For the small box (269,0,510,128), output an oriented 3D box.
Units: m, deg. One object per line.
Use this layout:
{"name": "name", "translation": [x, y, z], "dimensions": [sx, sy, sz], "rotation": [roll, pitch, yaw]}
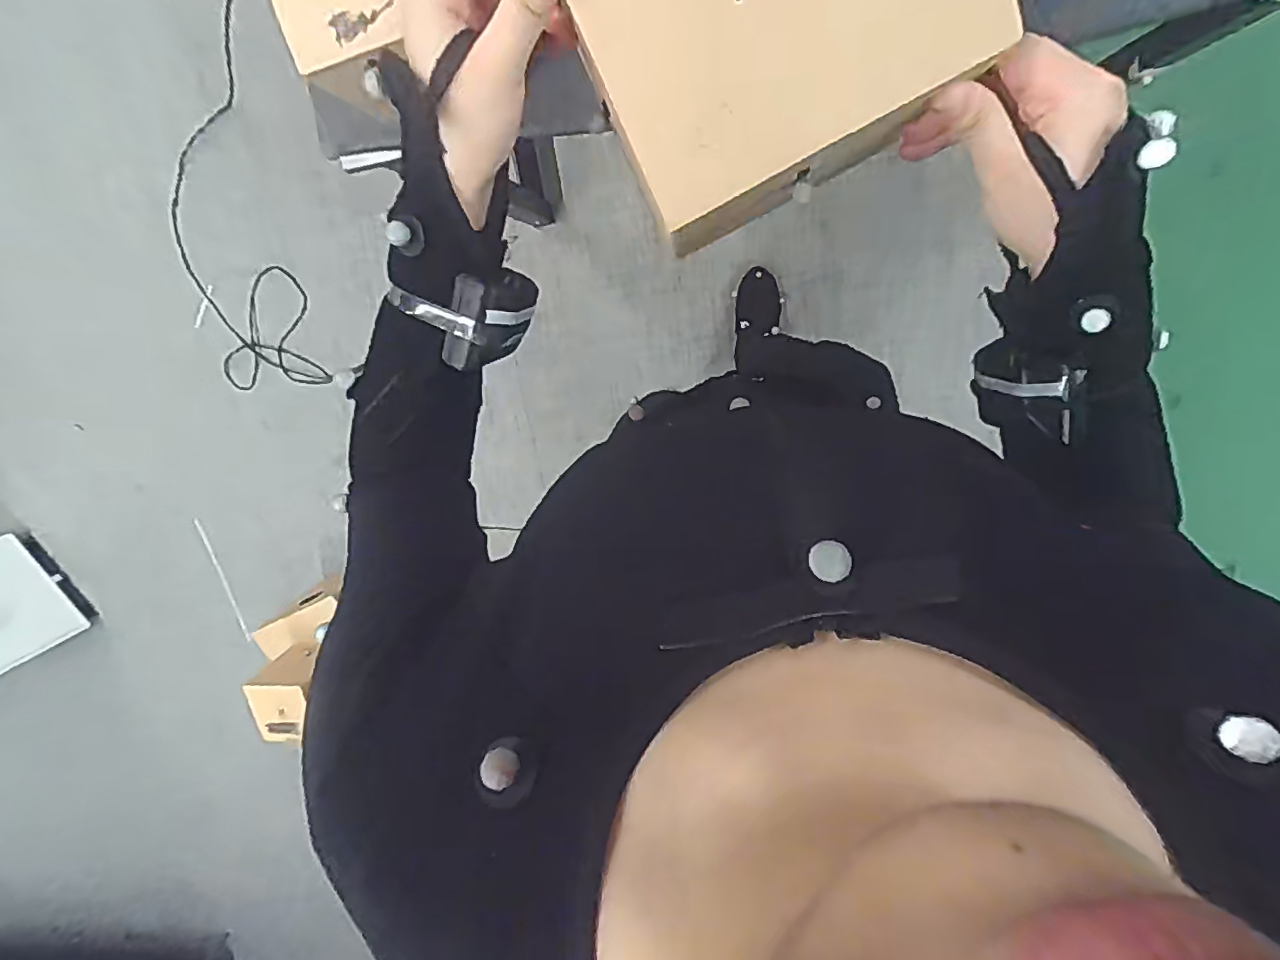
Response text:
{"name": "small box", "translation": [-0.253, -0.495, 0.544], "dimensions": [0.168, 0.176, 0.179], "rotation": [-11, 106, 10]}
